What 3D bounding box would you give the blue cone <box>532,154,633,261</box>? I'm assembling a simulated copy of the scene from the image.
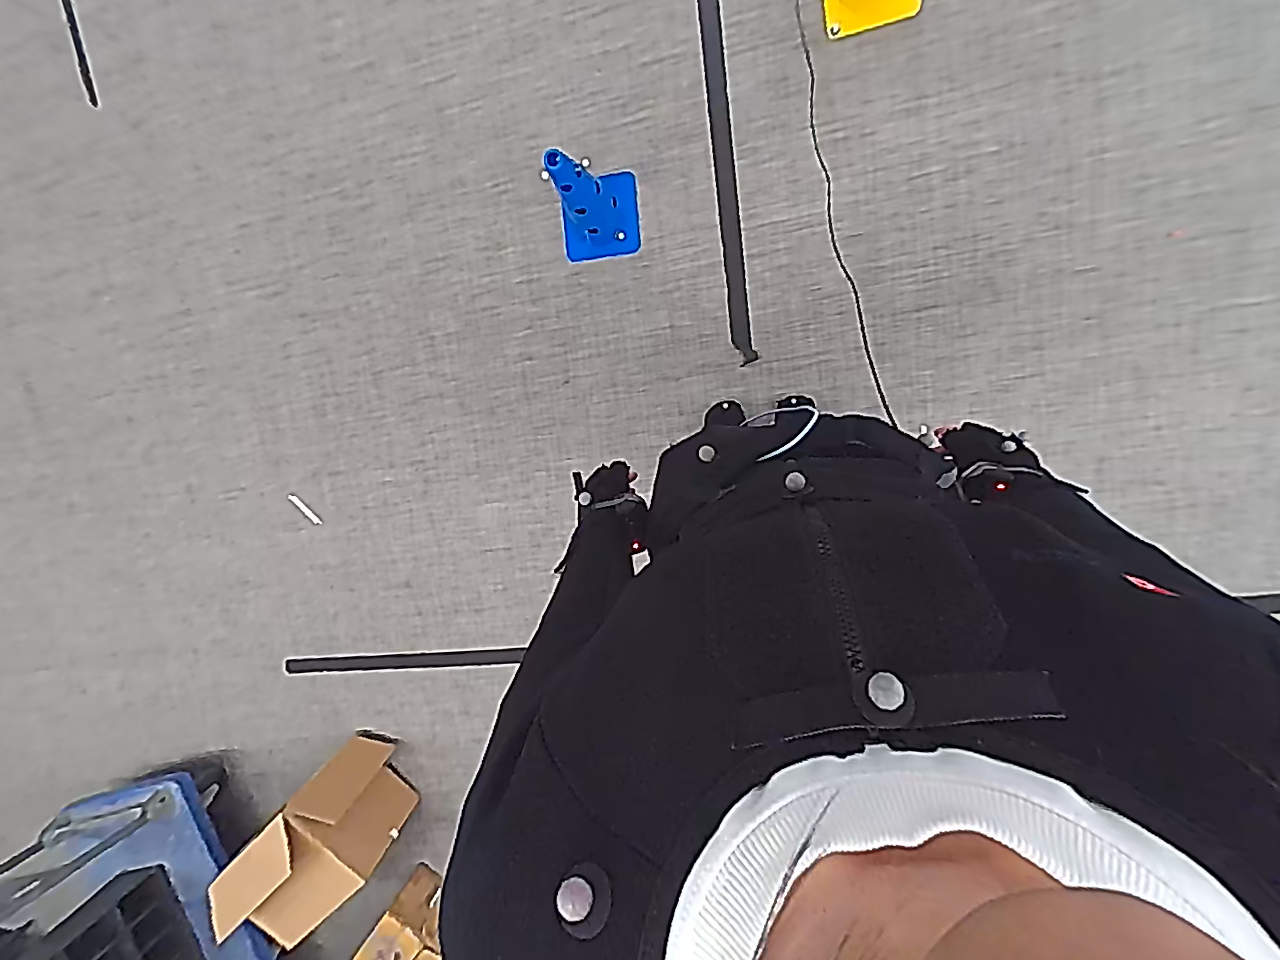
[{"bbox_3d":[-0.147,-0.651,1.236,0.192,0.380,0.193,-2,98,12],"label":"blue cone"}]
